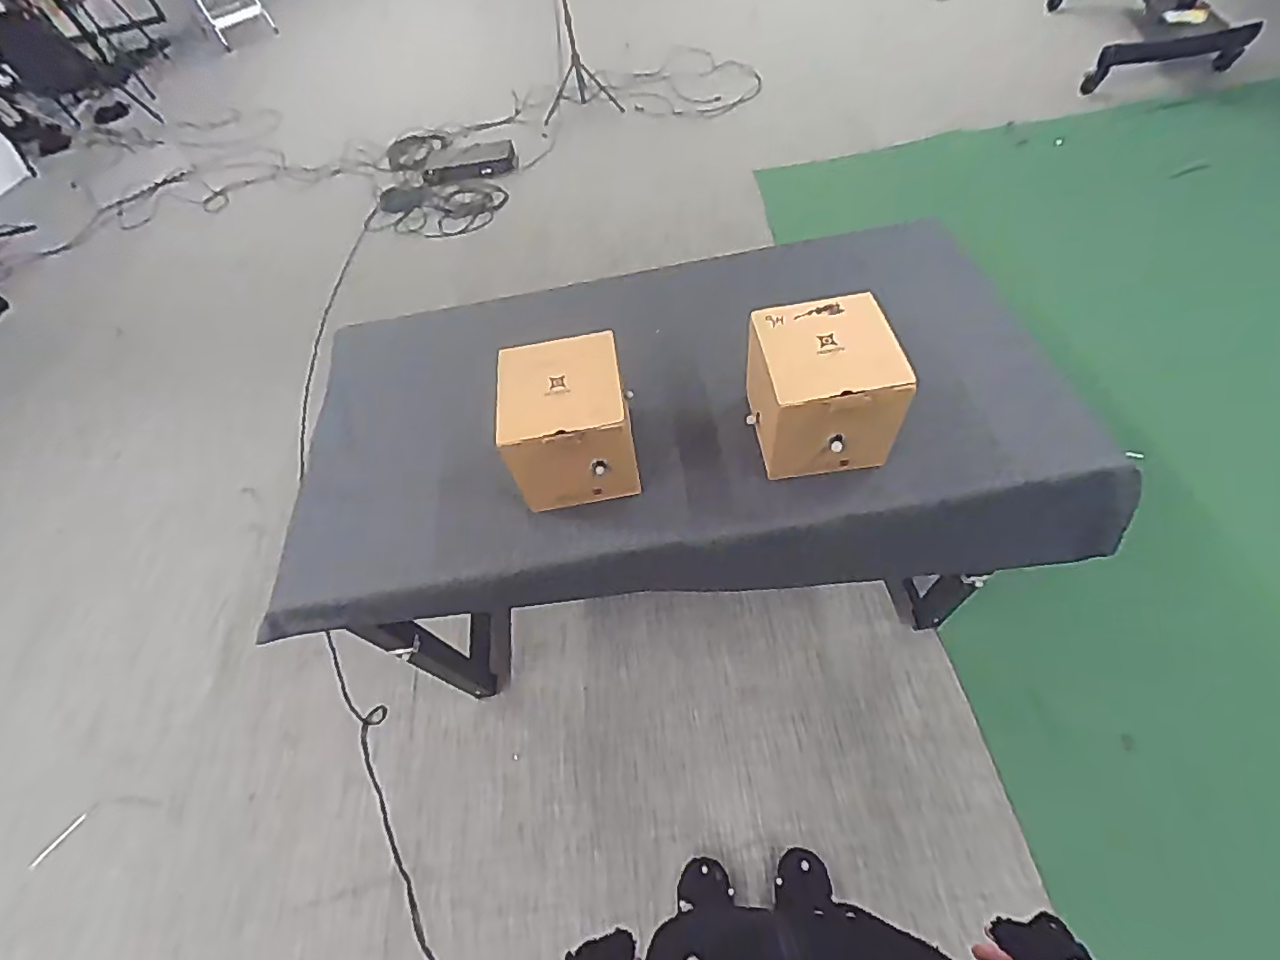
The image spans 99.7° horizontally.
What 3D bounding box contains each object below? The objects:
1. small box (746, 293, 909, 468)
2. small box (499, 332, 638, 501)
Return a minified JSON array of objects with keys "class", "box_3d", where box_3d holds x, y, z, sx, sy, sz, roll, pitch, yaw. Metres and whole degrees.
[{"class":"small box","box_3d":[0.248,-0.130,0.765,0.168,0.176,0.179,-8,57,3]},{"class":"small box","box_3d":[-0.100,-0.083,0.789,0.168,0.176,0.179,-10,54,0]}]
